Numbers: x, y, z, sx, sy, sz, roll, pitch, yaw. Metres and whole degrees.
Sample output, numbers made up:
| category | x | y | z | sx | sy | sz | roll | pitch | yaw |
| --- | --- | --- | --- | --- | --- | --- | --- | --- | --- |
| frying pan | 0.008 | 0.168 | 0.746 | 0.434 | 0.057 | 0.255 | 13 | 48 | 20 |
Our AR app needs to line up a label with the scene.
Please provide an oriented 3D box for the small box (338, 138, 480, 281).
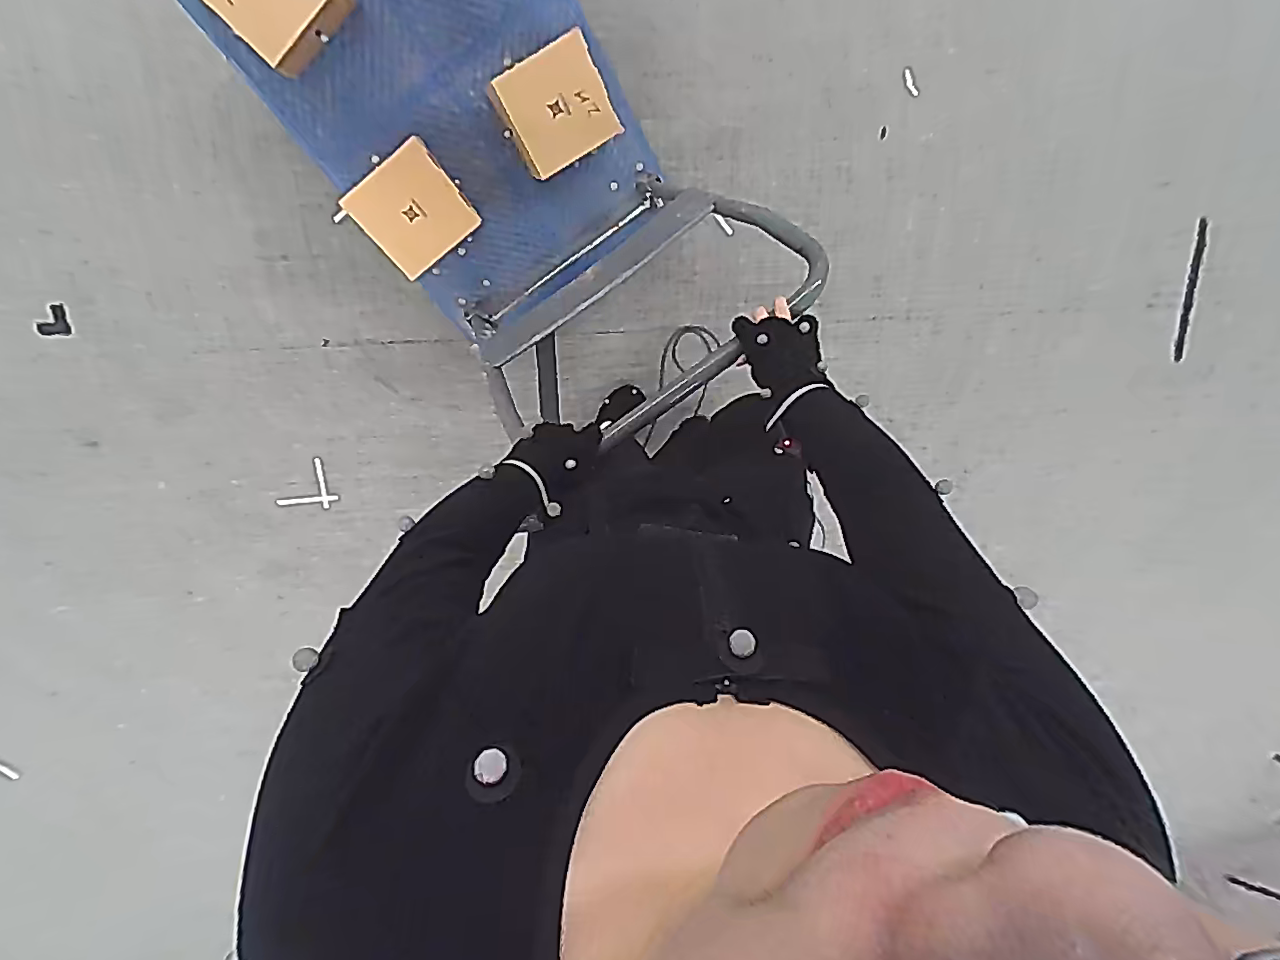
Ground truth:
| category | x | y | z | sx | sy | sz | roll | pitch | yaw |
| --- | --- | --- | --- | --- | --- | --- | --- | --- | --- |
| small box | -0.426 | -0.508 | 1.020 | 0.179 | 0.176 | 0.168 | -39 | 124 | 4 |

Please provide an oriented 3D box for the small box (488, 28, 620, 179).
| category | x | y | z | sx | sy | sz | roll | pitch | yaw |
| --- | --- | --- | --- | --- | --- | --- | --- | --- | --- |
| small box | -0.165 | -0.688 | 1.006 | 0.179 | 0.176 | 0.168 | -32 | 125 | 1 |
